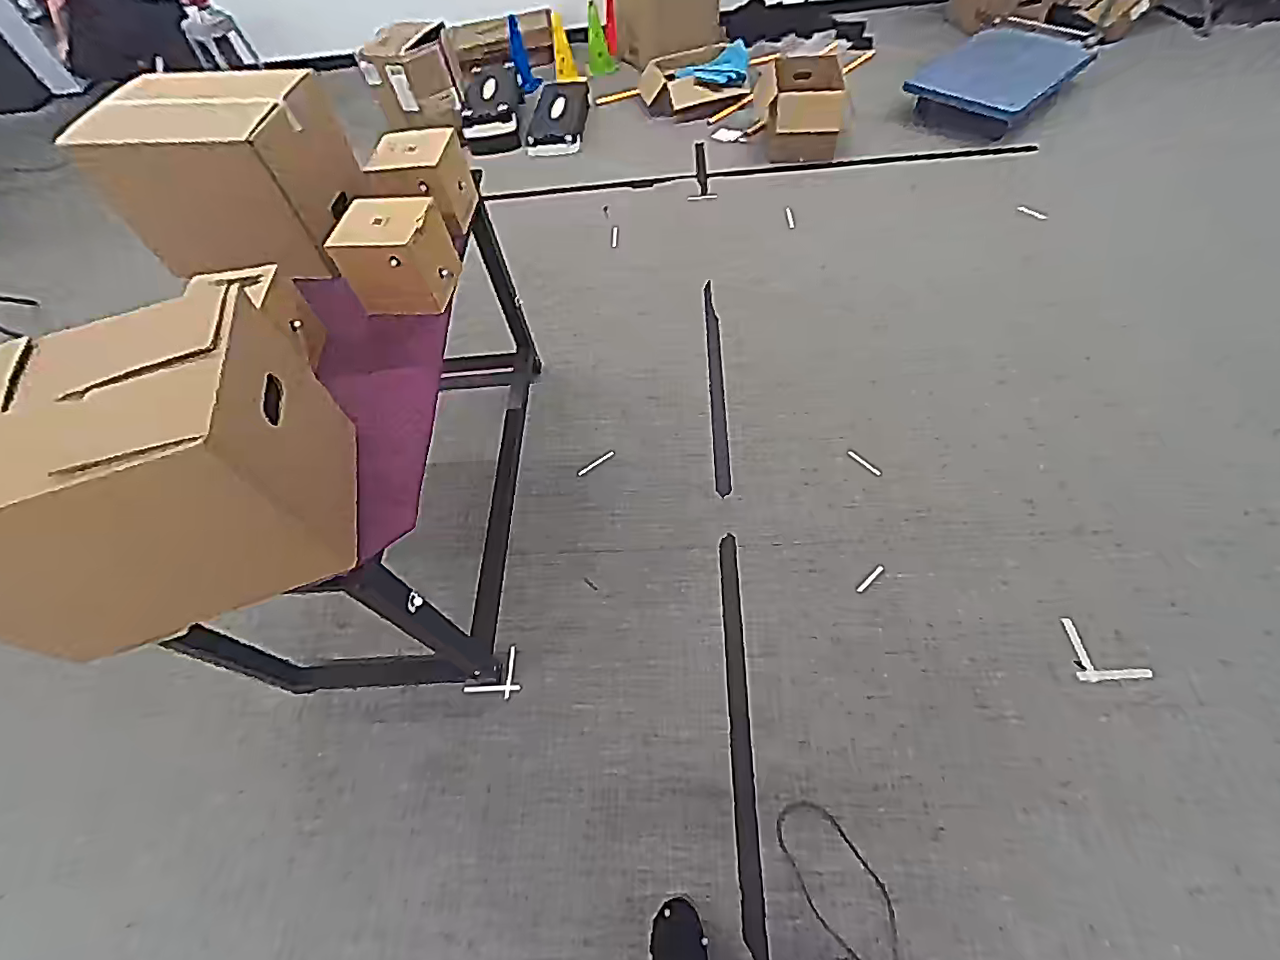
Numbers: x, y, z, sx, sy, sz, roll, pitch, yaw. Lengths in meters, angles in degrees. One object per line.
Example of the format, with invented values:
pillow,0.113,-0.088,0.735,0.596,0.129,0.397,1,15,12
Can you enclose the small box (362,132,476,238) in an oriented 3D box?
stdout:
small box,-0.514,-0.693,1.288,0.179,0.176,0.168,-2,57,8

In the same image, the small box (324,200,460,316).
small box,-0.509,-0.462,1.138,0.179,0.176,0.168,1,57,6
